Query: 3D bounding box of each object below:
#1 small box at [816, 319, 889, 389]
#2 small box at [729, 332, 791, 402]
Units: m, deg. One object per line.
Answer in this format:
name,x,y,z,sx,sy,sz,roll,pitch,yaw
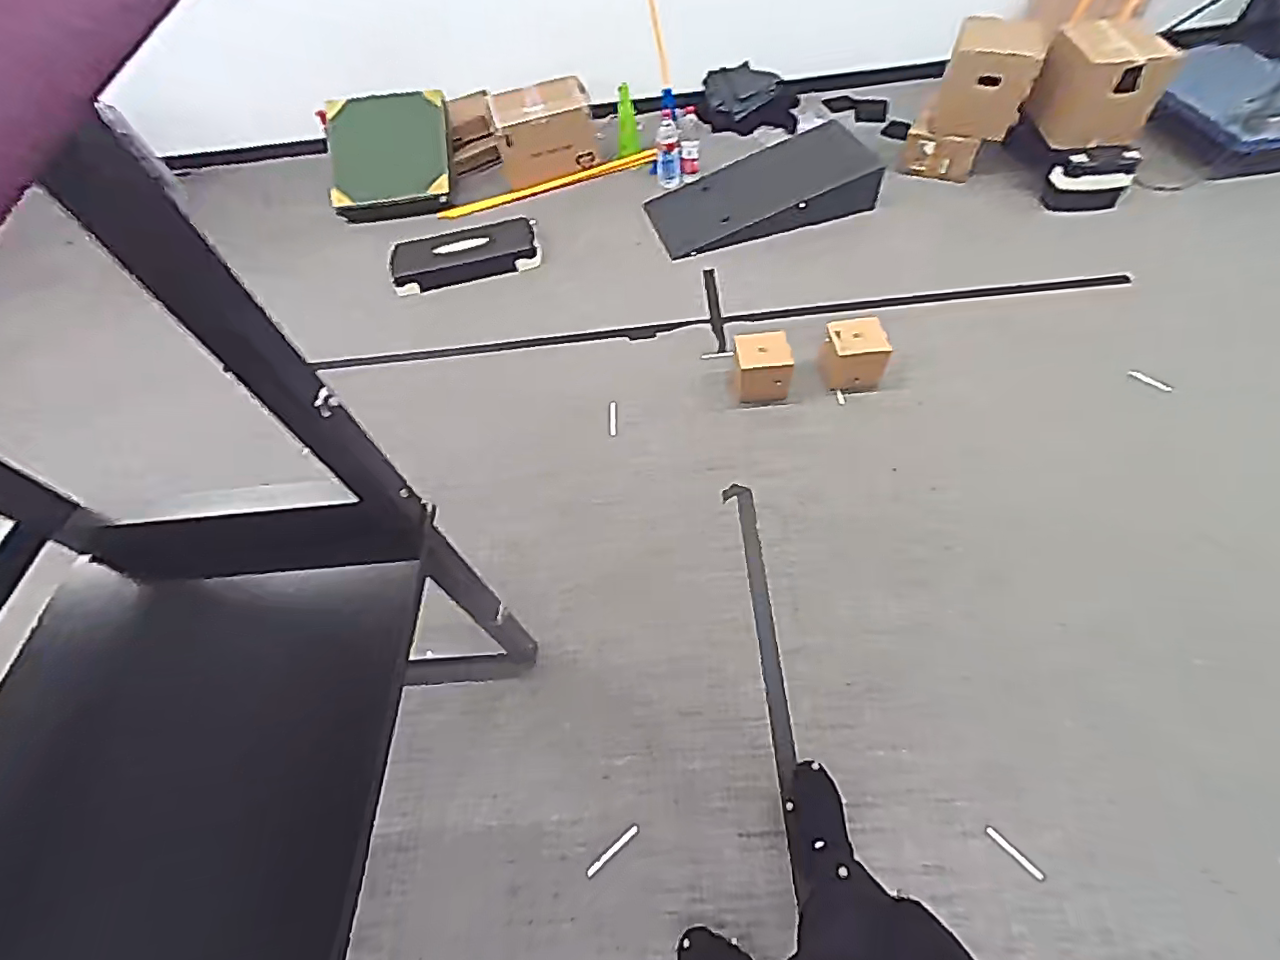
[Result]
small box,0.729,-0.434,1.876,0.179,0.176,0.168,-5,56,2
small box,0.411,-0.389,1.878,0.179,0.176,0.168,-5,55,2
